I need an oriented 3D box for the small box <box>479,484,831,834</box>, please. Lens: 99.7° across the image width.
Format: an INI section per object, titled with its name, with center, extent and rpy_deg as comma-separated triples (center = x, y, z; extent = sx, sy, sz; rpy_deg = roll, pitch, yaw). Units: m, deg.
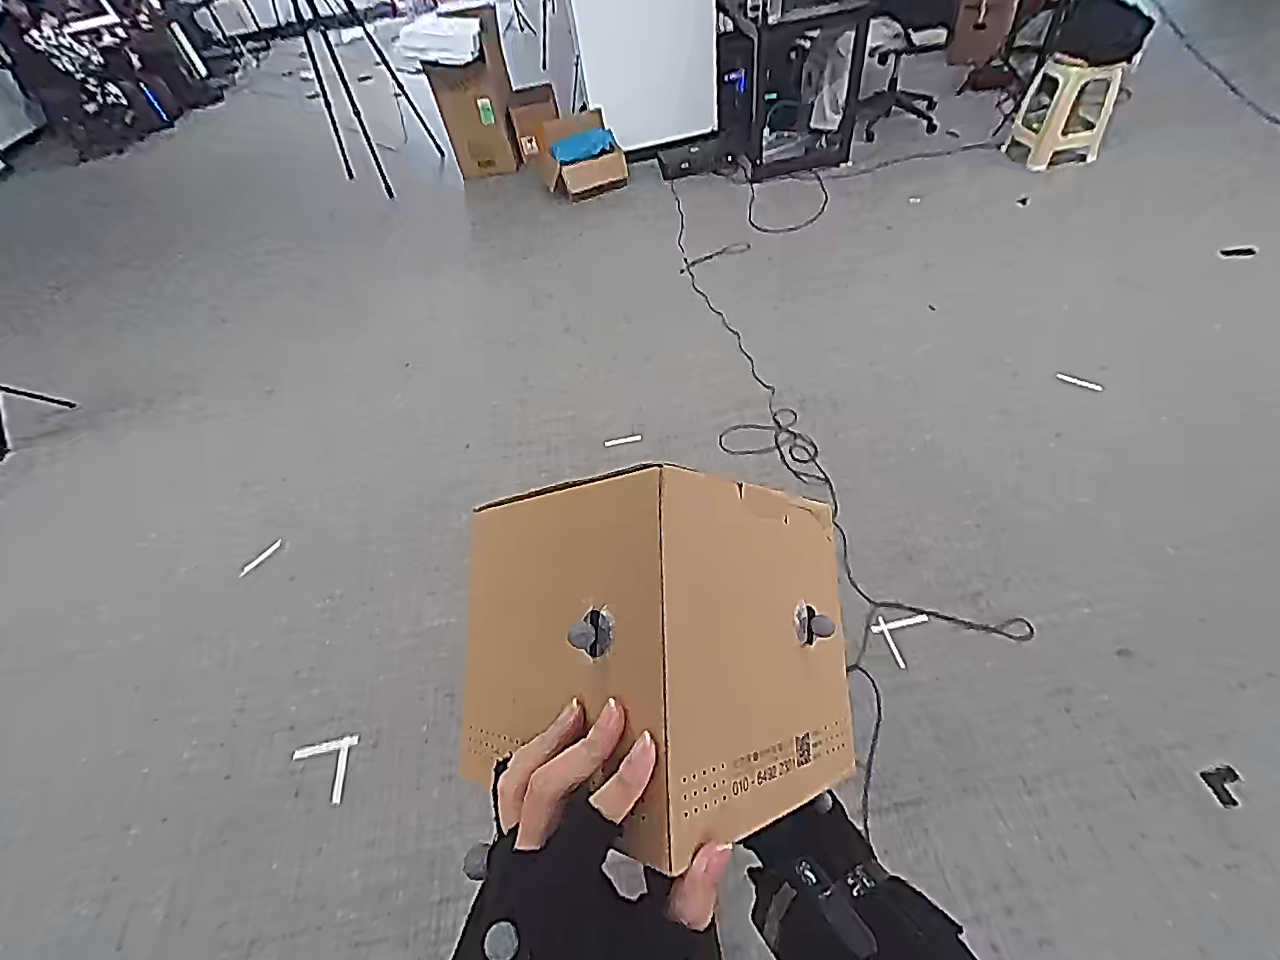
[small box]
center = 0.009, 0.106, 0.360
extent = 0.179, 0.168, 0.176
rpy_deg = -14, 72, 44
